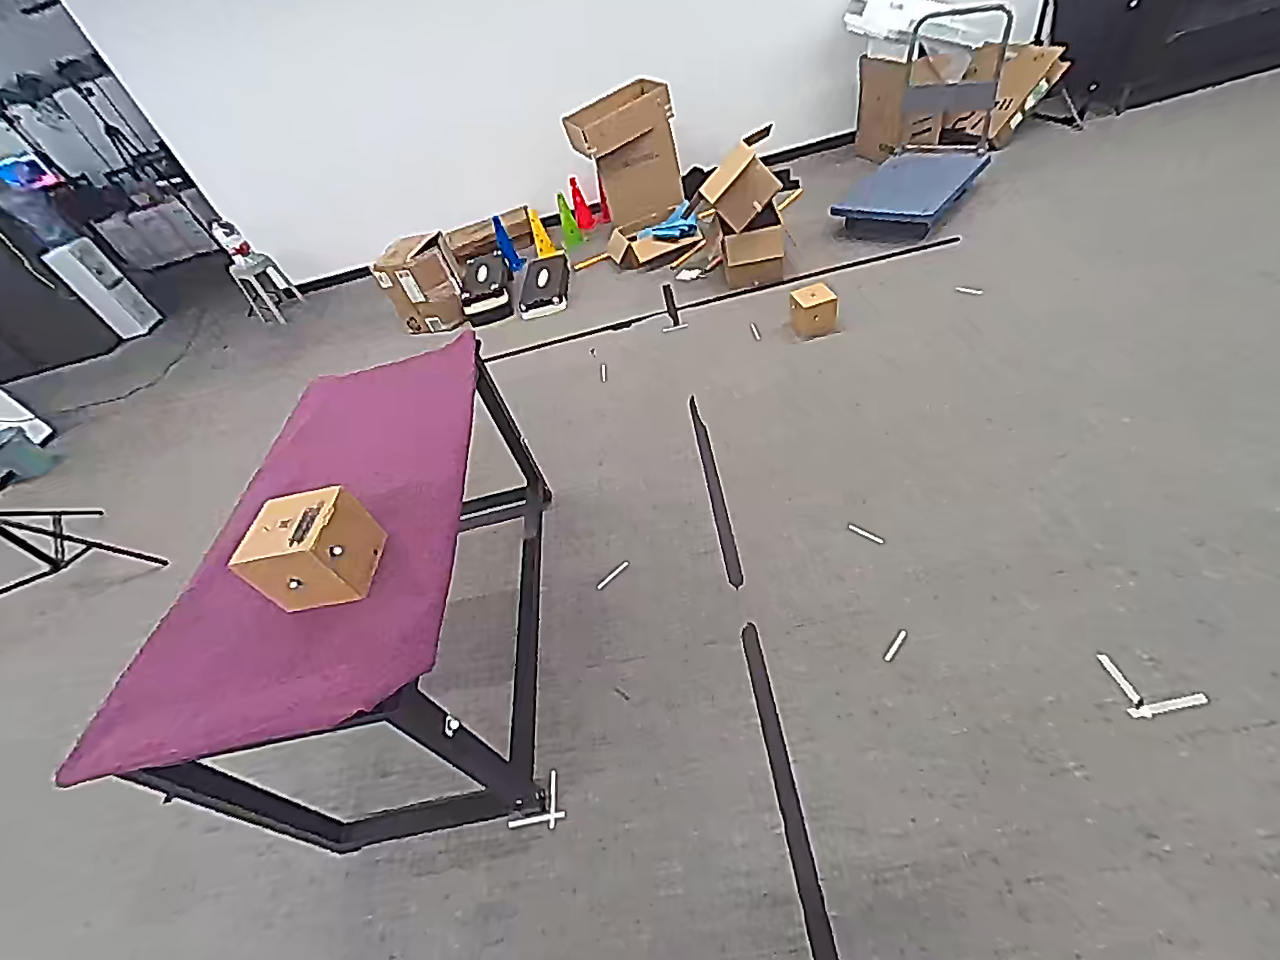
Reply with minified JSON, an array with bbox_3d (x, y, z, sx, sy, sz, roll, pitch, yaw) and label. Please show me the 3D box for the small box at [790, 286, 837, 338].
[{"bbox_3d":[0.843,-0.808,2.624,0.168,0.176,0.179,-18,43,0],"label":"small box"}]
